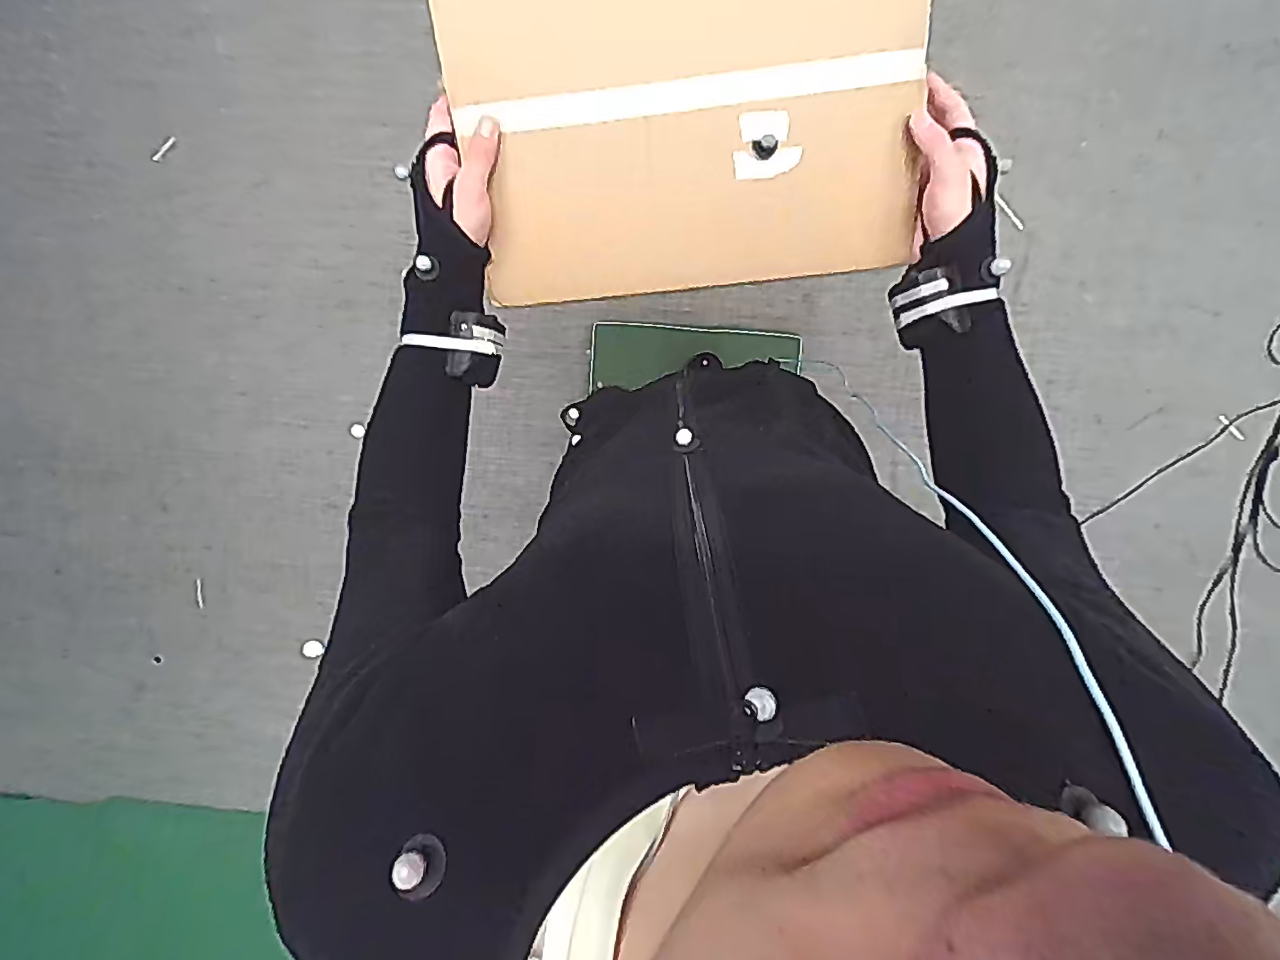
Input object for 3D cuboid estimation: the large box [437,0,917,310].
[{"bbox_3d":[0.037,-0.386,0.615,0.408,0.320,0.320,-6,112,2],"label":"large box"}]
